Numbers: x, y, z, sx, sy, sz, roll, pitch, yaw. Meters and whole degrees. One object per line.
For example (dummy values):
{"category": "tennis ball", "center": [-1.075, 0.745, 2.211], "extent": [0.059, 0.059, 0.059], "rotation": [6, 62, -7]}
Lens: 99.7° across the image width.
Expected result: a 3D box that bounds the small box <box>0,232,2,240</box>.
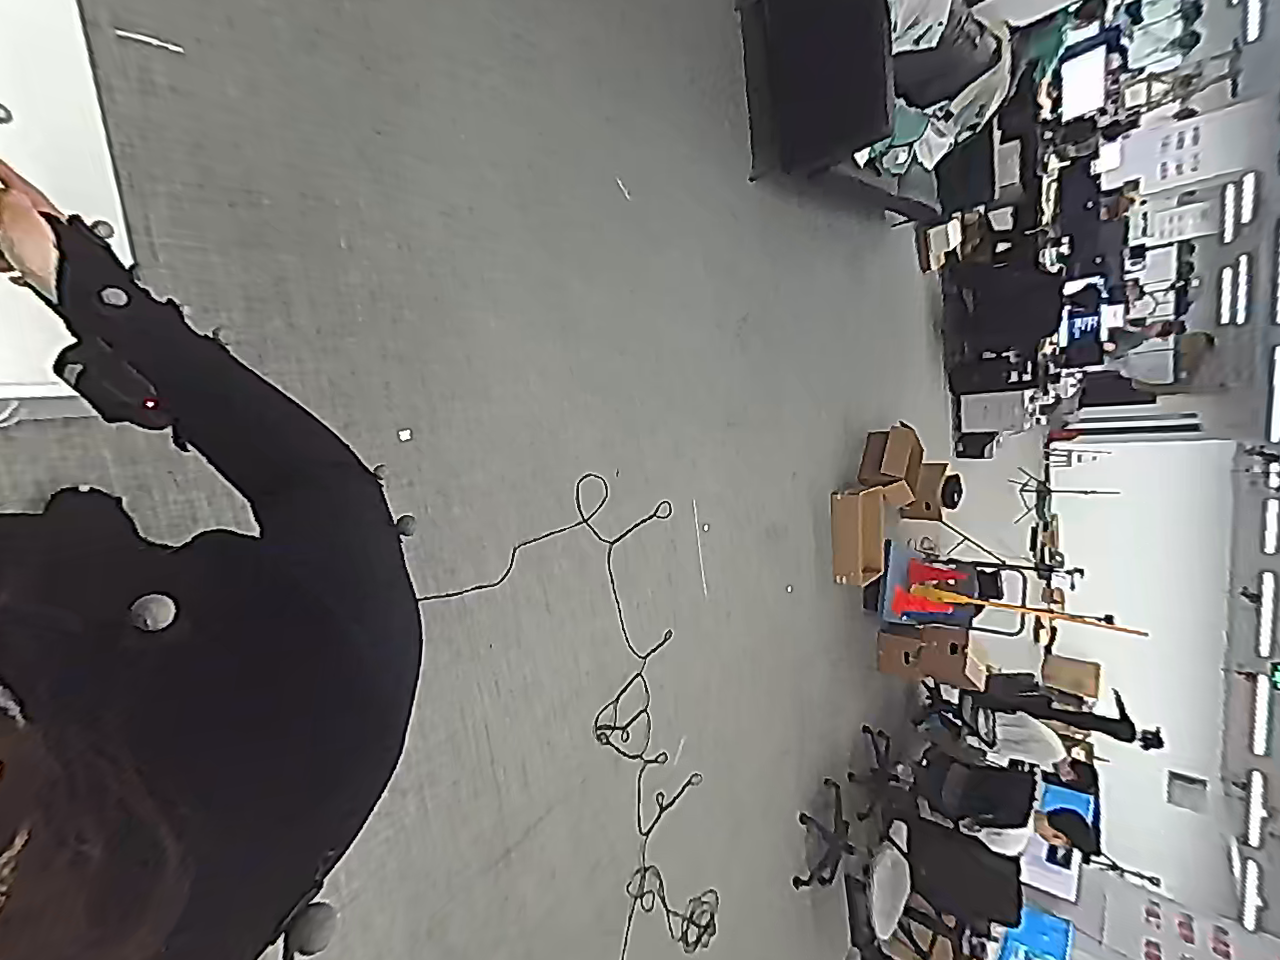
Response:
{"category": "small box", "center": [-0.510, -0.241, 0.304], "extent": [0.179, 0.176, 0.168], "rotation": [-9, 102, -47]}
